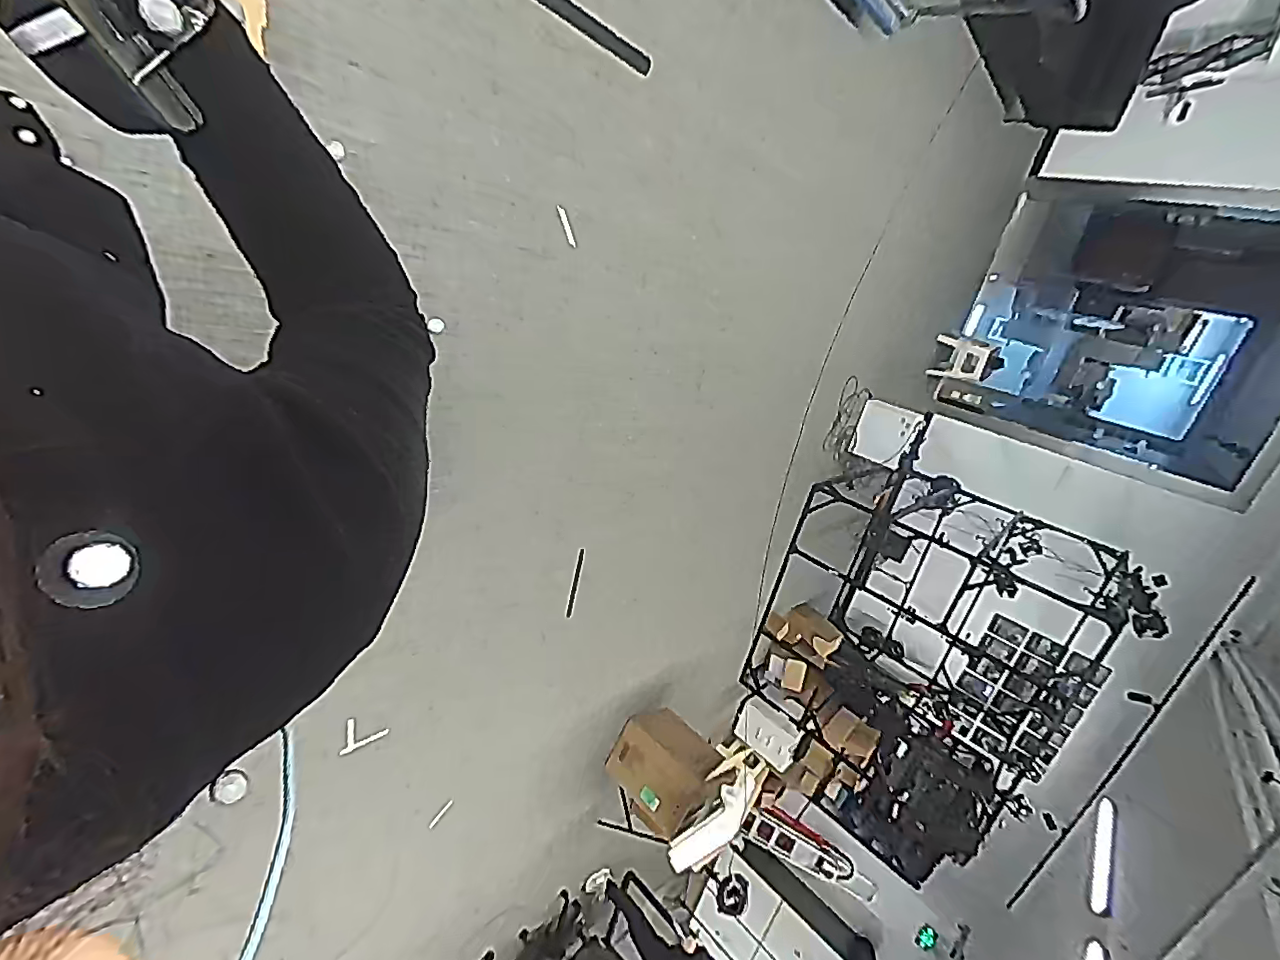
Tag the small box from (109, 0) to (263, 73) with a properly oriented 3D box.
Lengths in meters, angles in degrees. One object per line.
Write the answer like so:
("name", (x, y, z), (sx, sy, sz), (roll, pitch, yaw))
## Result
("small box", (-0.771, -0.827, 0.920), (0.179, 0.176, 0.168), (-10, 121, -49))
